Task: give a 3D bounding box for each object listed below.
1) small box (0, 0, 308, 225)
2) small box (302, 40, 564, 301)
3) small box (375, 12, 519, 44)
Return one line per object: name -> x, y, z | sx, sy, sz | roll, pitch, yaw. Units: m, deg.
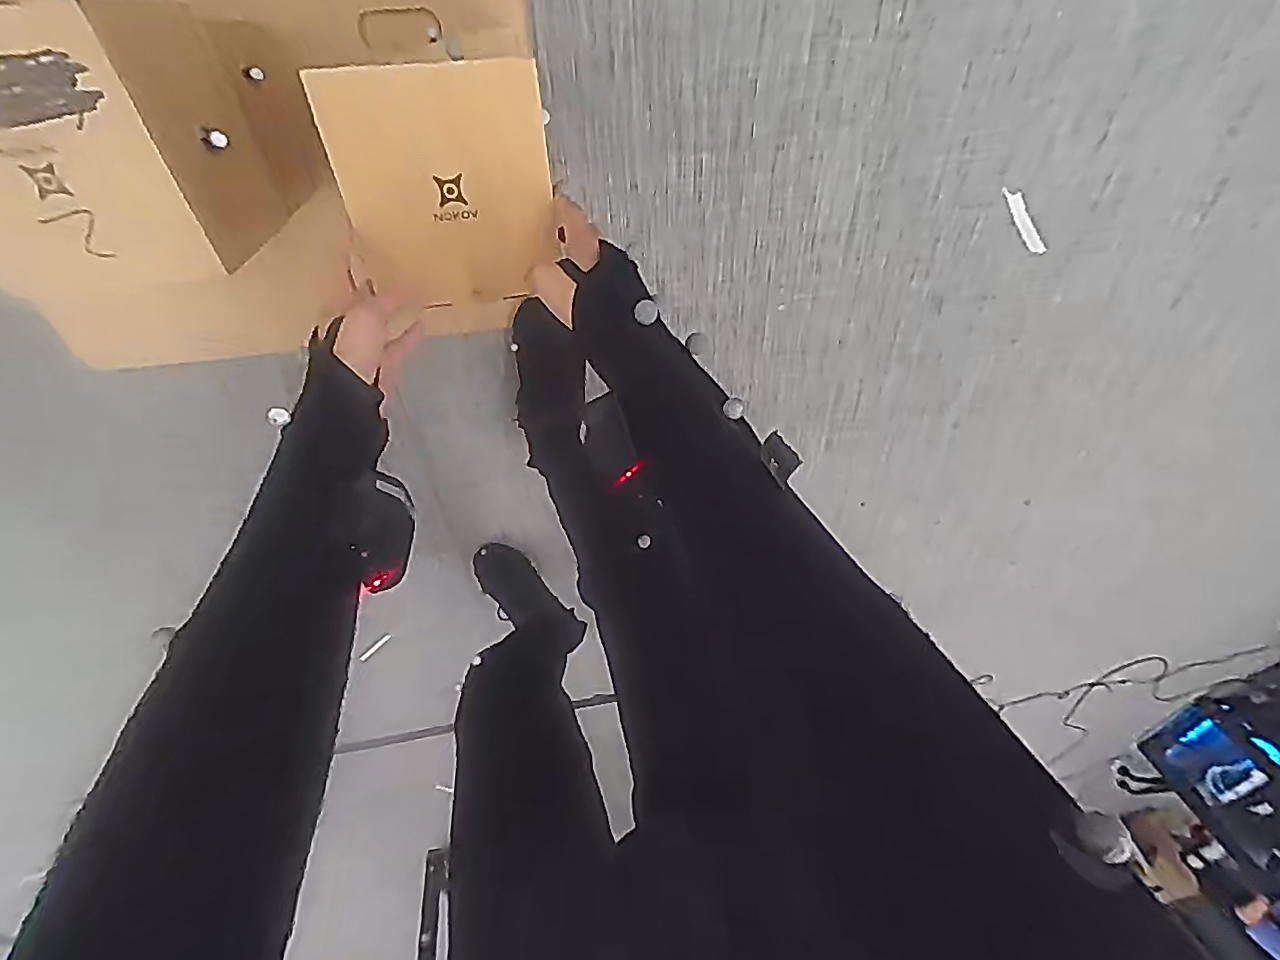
small box -> -0.477, -0.377, 0.556 | 0.168, 0.176, 0.179 | -5, 130, -9
small box -> -0.168, -0.284, 0.490 | 0.168, 0.176, 0.179 | -9, 131, -8
small box -> -0.202, -0.397, 0.606 | 0.179, 0.176, 0.168 | -15, 132, -1
